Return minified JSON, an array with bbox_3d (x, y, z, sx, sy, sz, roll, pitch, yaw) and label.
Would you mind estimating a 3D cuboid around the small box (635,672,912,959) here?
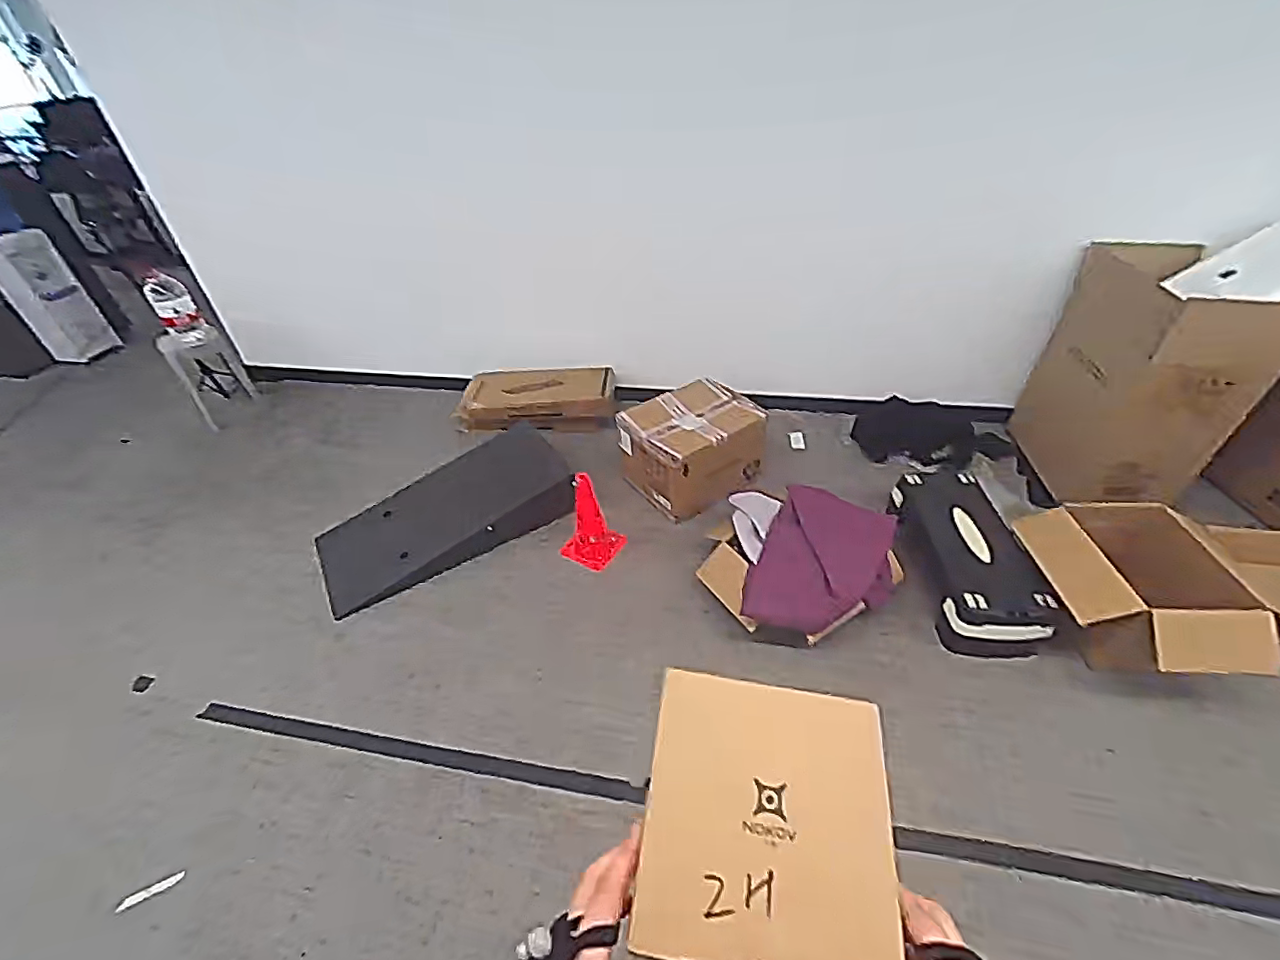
[{"bbox_3d":[0.089,0.279,0.426,0.168,0.176,0.179,8,51,6],"label":"small box"}]
